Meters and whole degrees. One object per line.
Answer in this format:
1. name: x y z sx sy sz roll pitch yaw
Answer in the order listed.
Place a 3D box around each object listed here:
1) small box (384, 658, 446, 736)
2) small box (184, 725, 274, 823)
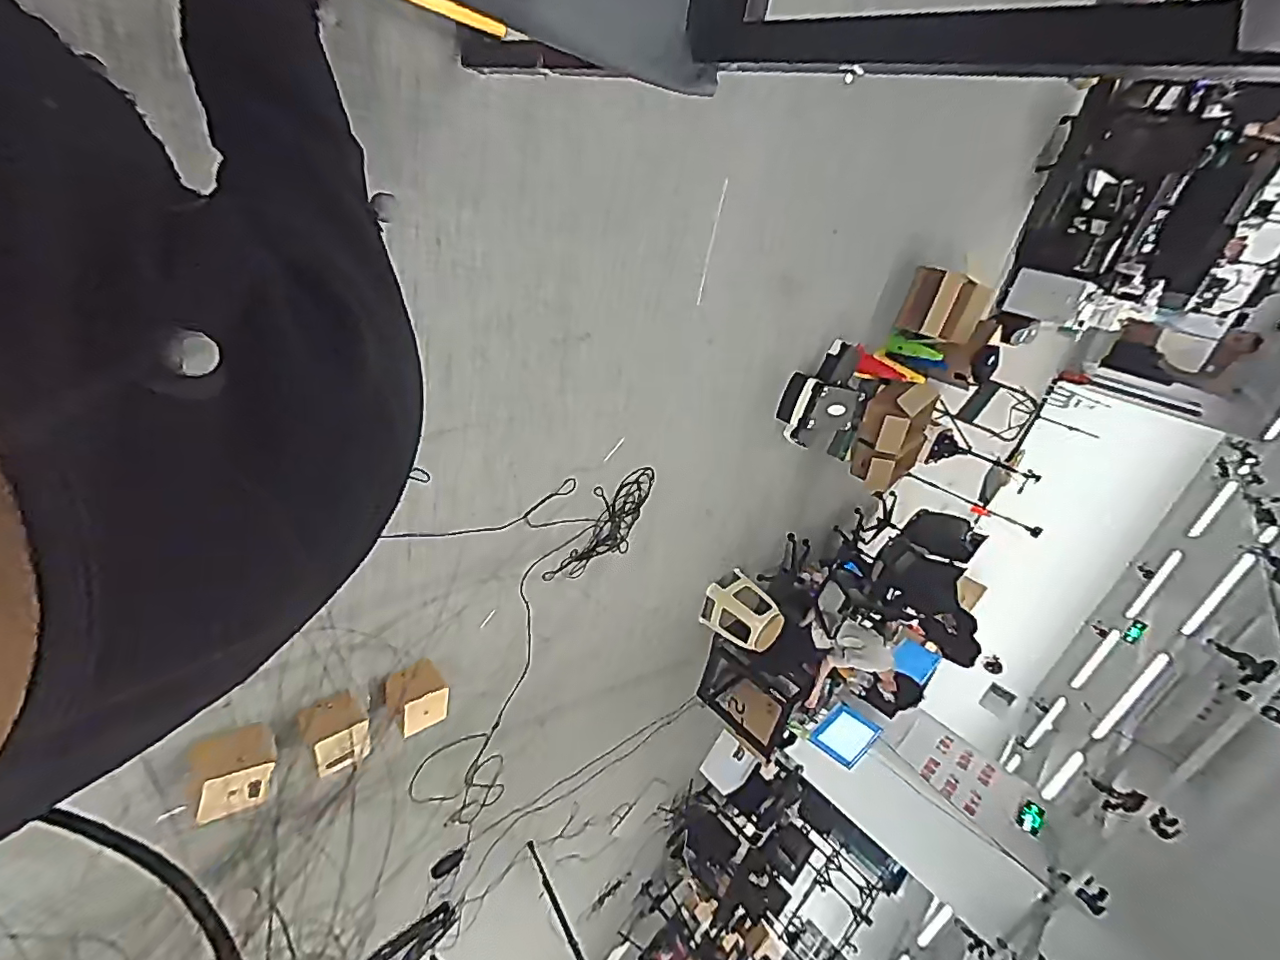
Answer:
1. small box: -0.854 0.815 2.045 0.168 0.176 0.179 -14 126 -44
2. small box: -1.240 0.873 1.629 0.179 0.176 0.168 5 112 -50
